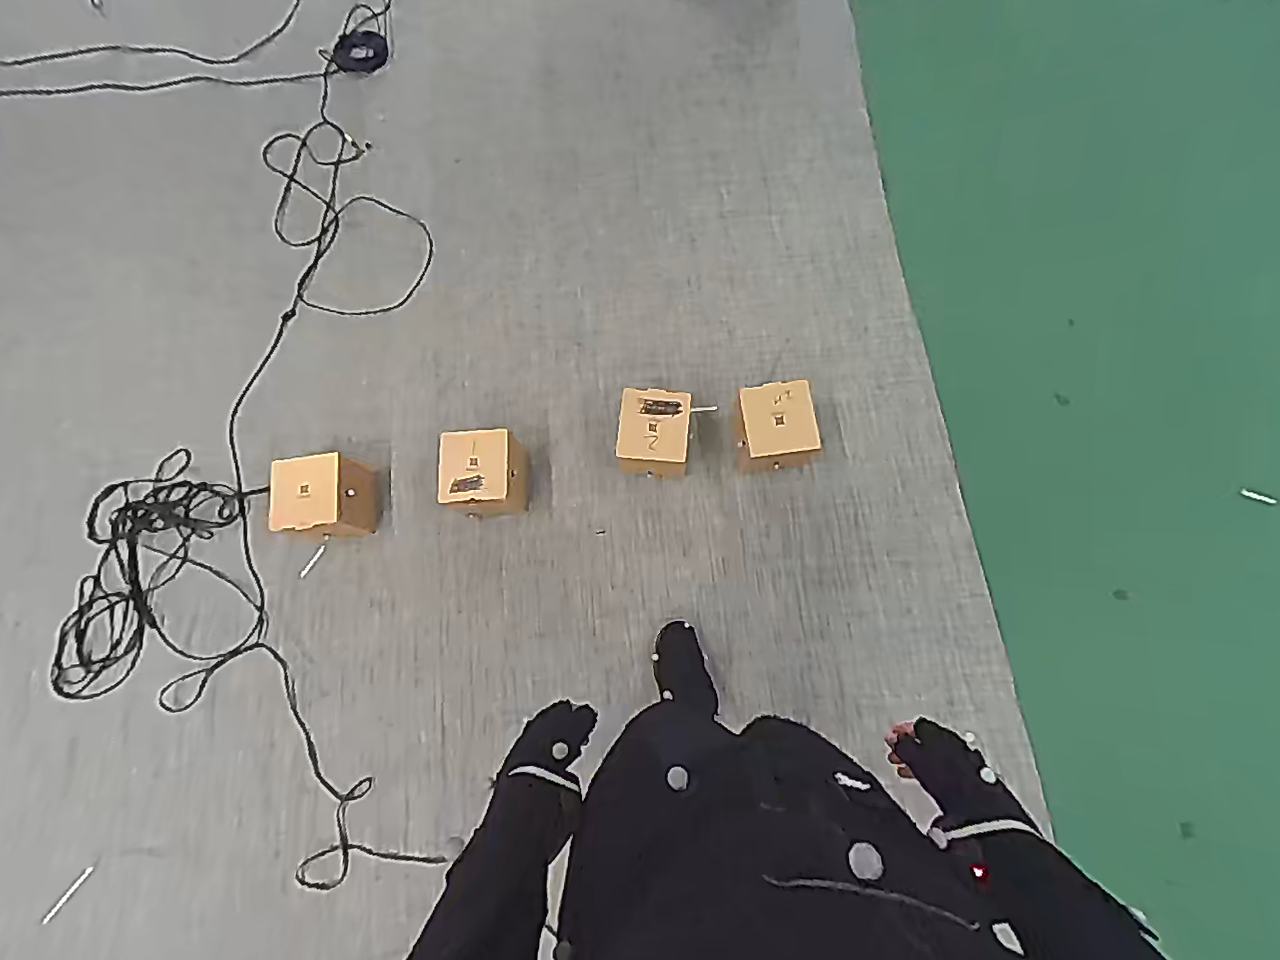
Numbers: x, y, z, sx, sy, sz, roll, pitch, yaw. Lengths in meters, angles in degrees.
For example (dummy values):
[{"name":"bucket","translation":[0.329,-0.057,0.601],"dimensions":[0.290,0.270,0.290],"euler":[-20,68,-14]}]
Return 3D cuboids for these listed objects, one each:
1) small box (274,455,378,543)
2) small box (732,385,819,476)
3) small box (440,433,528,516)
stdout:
[{"name":"small box","translation":[-0.781,0.053,1.361],"dimensions":[0.168,0.176,0.179],"euler":[-8,76,2]},{"name":"small box","translation":[0.328,-0.114,1.341],"dimensions":[0.168,0.176,0.179],"euler":[-7,76,0]},{"name":"small box","translation":[-0.382,-0.006,1.351],"dimensions":[0.168,0.176,0.179],"euler":[-3,75,3]}]
